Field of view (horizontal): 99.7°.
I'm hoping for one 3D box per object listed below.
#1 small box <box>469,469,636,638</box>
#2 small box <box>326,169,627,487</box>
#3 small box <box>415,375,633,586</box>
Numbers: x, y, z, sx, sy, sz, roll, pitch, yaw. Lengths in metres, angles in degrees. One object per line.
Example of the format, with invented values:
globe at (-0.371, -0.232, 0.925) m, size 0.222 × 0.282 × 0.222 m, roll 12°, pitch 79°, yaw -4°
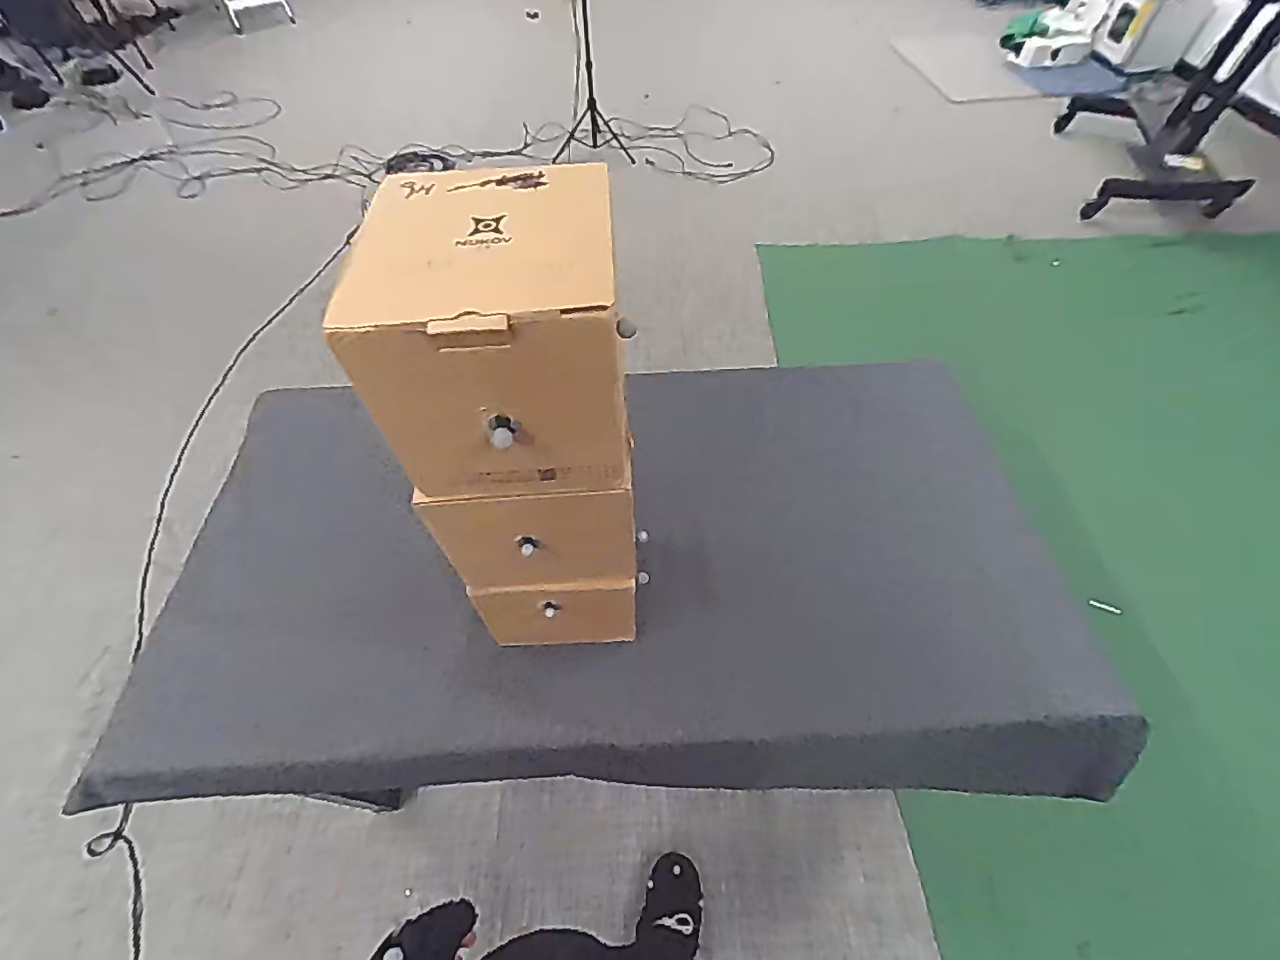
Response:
small box at (-0.095, 0.092, 0.675) m, size 0.179 × 0.176 × 0.168 m, roll -1°, pitch 56°, yaw -2°
small box at (-0.097, -0.105, 0.413) m, size 0.168 × 0.176 × 0.179 m, roll -3°, pitch 56°, yaw -1°
small box at (-0.096, -0.005, 0.542) m, size 0.179 × 0.176 × 0.168 m, roll -4°, pitch 56°, yaw -1°
